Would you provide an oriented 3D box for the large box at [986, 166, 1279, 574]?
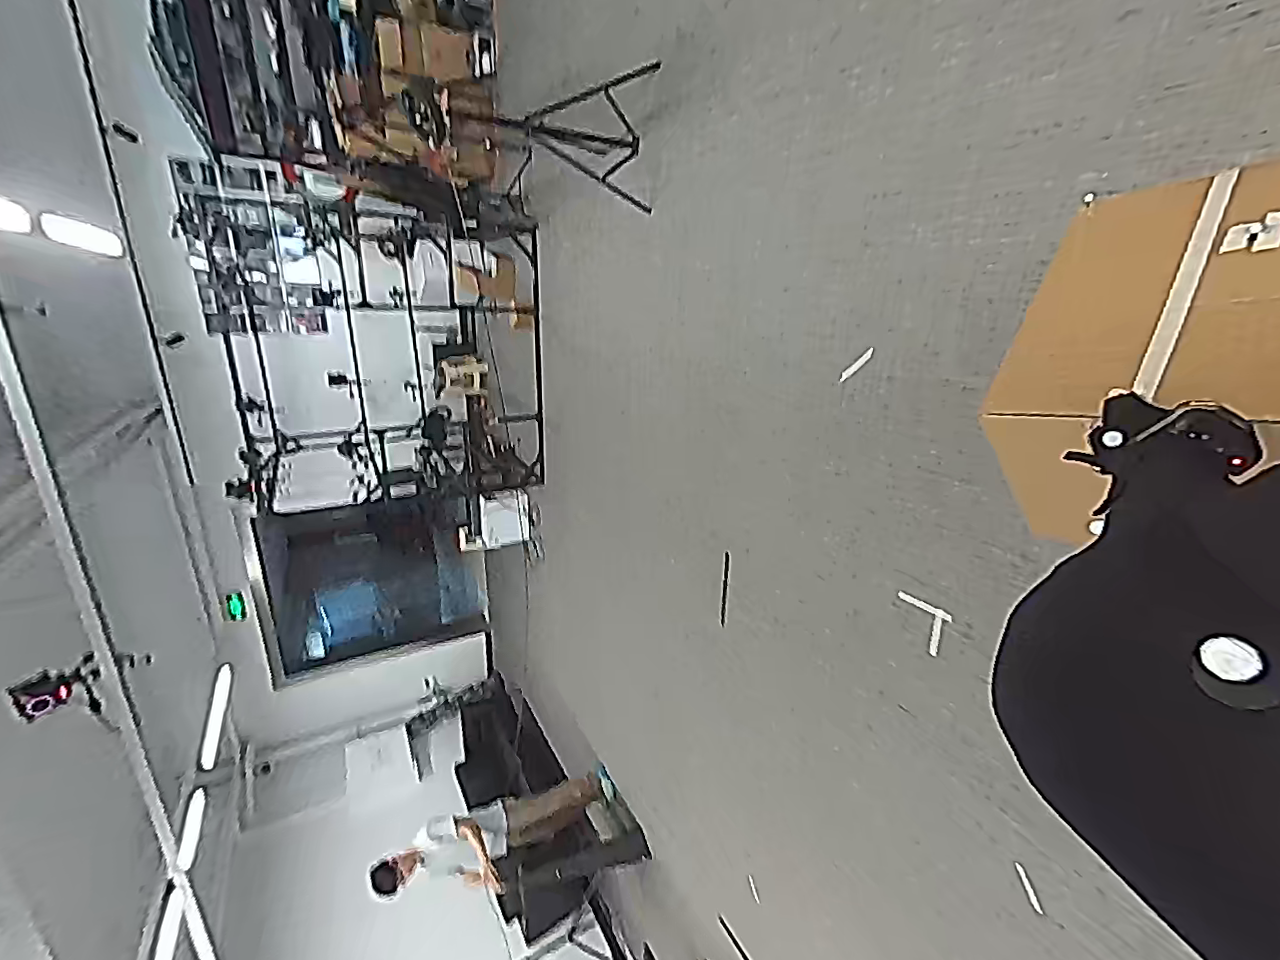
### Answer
[{"bbox_3d":[0.741,-0.137,0.721,0.320,0.320,0.408,13,64,55],"label":"large box"}]
